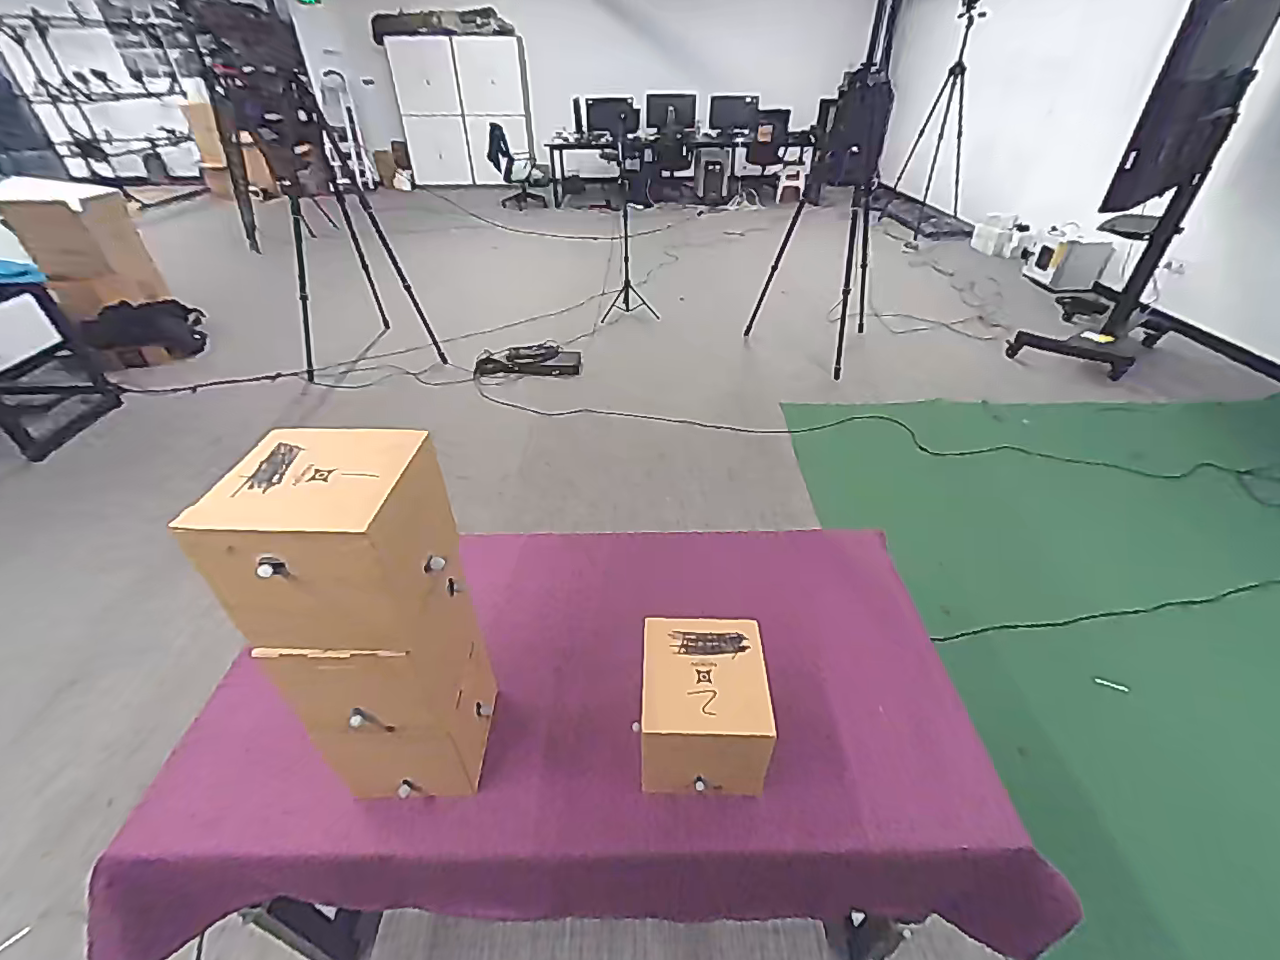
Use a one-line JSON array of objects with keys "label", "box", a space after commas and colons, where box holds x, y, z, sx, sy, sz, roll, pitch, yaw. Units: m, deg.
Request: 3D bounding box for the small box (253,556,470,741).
[{"label": "small box", "box": [-0.321, 0.197, 0.673, 0.168, 0.176, 0.179, -1, 37, 0]}]

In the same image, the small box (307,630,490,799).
[{"label": "small box", "box": [-0.322, 0.332, 0.769, 0.179, 0.176, 0.168, -1, 37, -2]}]

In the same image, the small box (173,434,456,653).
[{"label": "small box", "box": [-0.317, 0.065, 0.574, 0.179, 0.176, 0.168, 1, 37, 1]}]
